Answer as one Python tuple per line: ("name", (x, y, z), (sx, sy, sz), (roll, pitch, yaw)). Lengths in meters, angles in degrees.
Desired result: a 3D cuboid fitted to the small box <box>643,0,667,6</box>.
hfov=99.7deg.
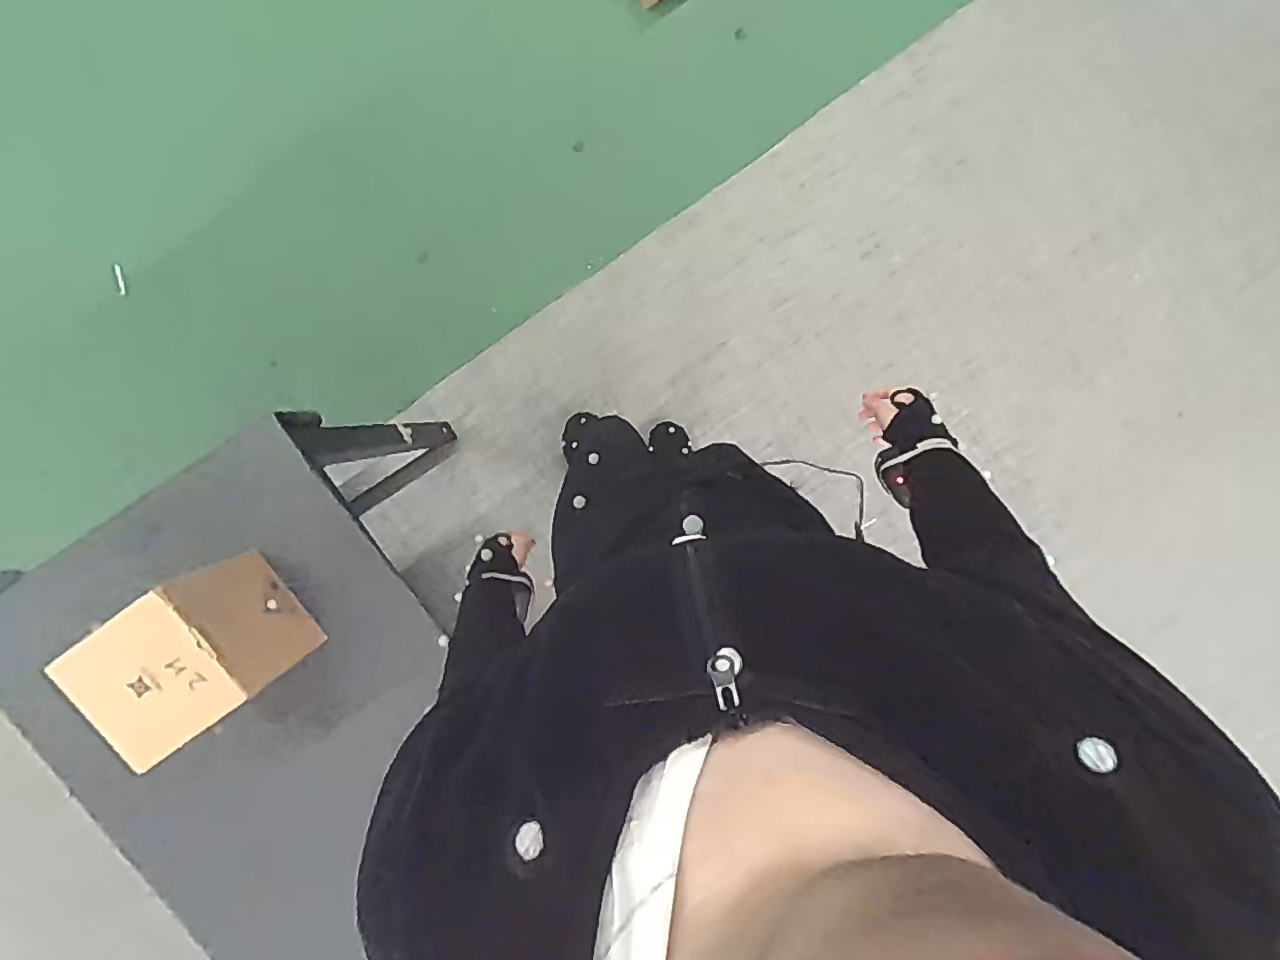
("small box", (0.048, -1.283, 1.276), (0.168, 0.176, 0.179), (-34, 94, 4))
